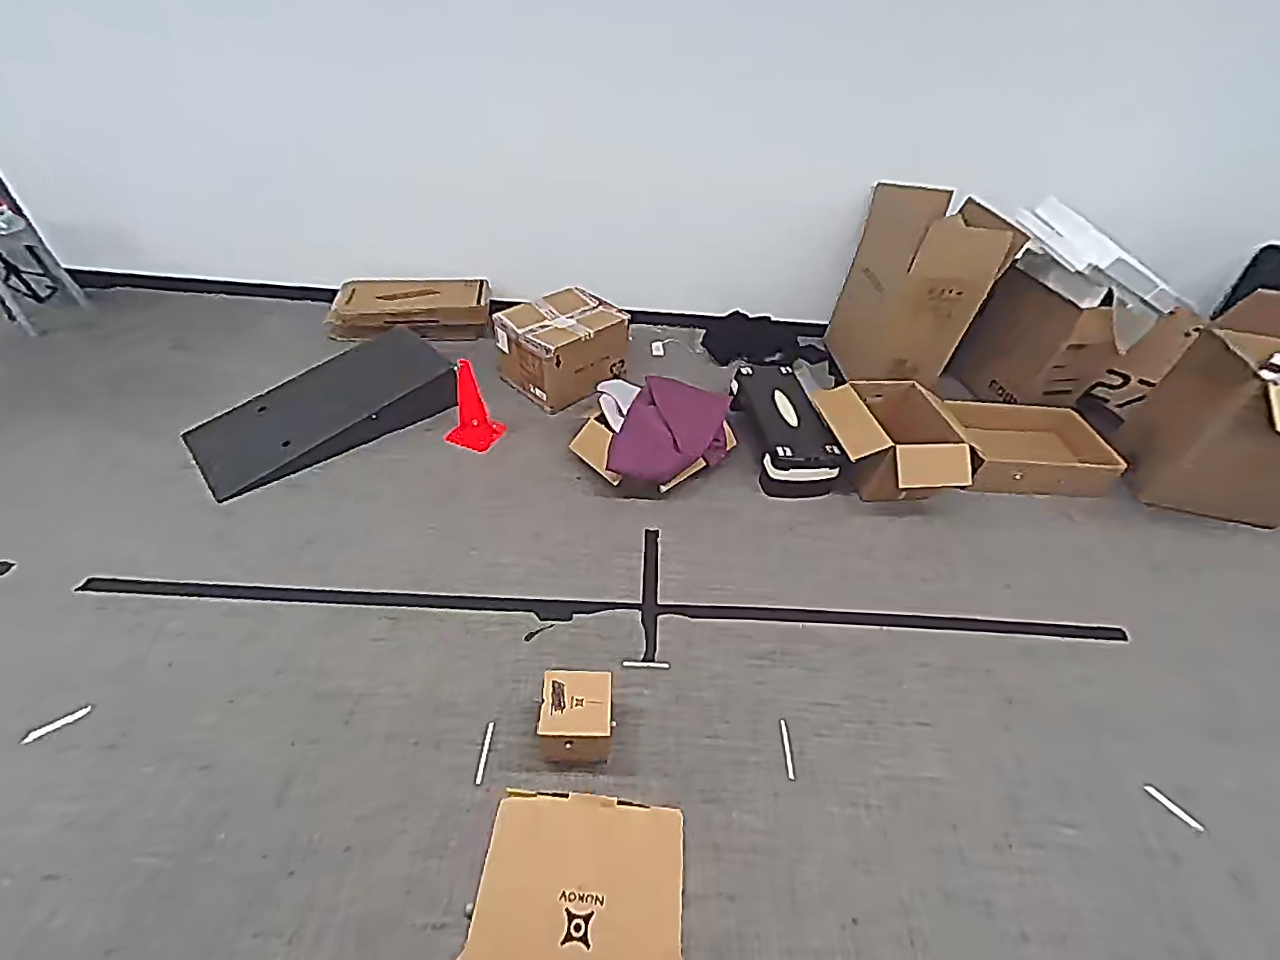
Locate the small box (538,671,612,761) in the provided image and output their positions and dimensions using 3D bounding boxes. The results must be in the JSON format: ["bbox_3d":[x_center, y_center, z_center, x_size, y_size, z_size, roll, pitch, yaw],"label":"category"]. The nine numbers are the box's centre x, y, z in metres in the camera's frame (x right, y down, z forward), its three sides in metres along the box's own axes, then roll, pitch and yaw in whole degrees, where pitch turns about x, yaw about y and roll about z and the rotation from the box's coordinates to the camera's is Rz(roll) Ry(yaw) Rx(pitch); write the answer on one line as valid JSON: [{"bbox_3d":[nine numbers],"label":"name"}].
[{"bbox_3d":[-0.163,0.614,1.401,0.179,0.176,0.168,2,44,-3],"label":"small box"}]

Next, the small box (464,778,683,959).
[{"bbox_3d":[-0.057,0.399,0.486,0.168,0.176,0.179,7,44,-1],"label":"small box"}]
